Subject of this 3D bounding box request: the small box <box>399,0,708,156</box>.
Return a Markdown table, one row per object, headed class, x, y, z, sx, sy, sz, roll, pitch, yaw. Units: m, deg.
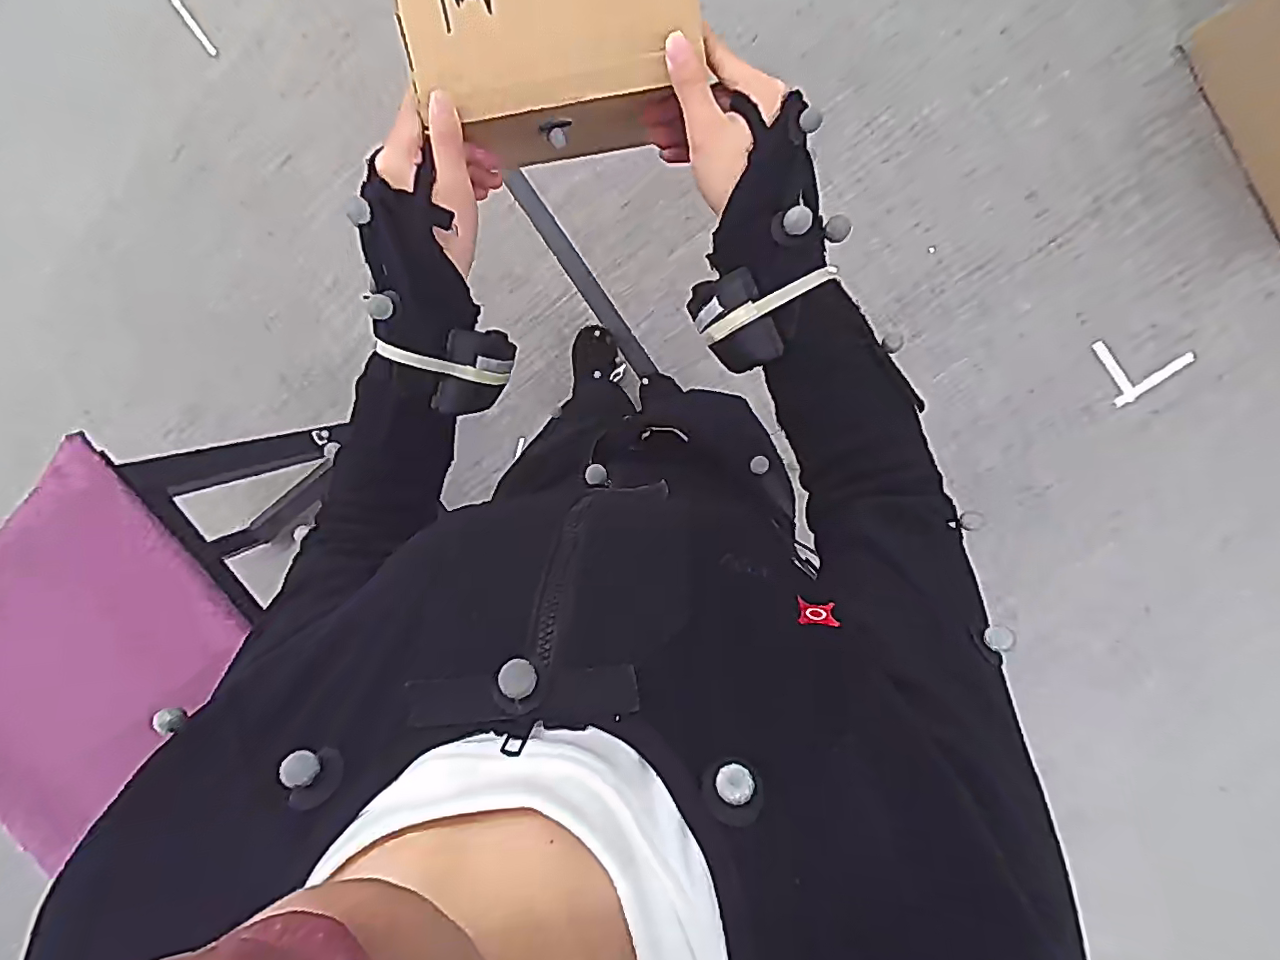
| class | x | y | z | sx | sy | sz | roll | pitch | yaw |
| --- | --- | --- | --- | --- | --- | --- | --- | --- | --- |
| small box | -0.054 | -0.337 | 0.367 | 0.179 | 0.176 | 0.168 | -7 | 112 | 4 |
